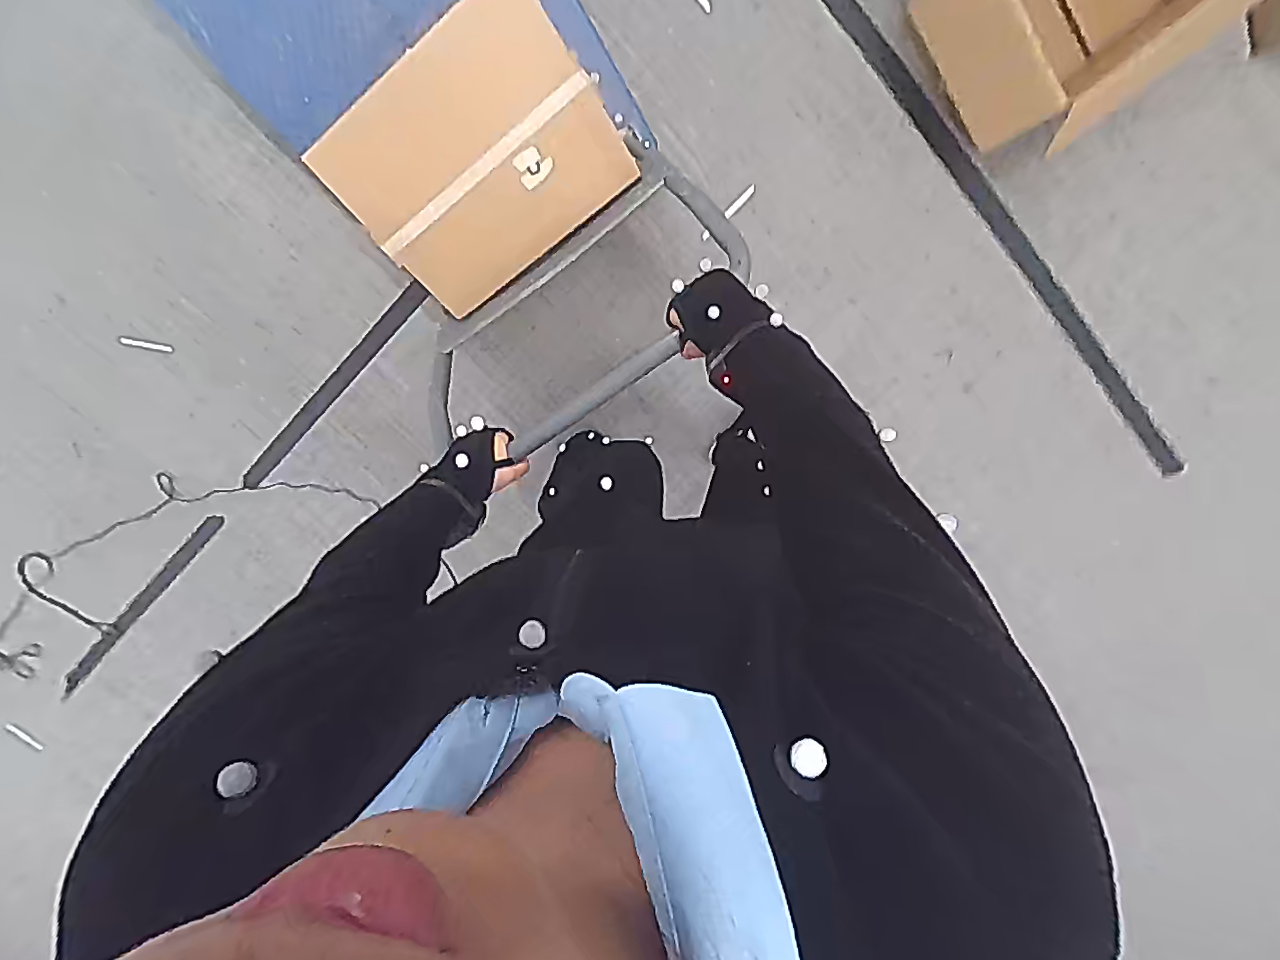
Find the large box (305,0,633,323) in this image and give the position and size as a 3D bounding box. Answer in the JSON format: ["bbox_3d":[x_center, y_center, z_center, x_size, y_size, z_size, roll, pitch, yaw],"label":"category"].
[{"bbox_3d":[-0.278,-0.560,0.946,0.408,0.320,0.320,-34,127,13],"label":"large box"}]
